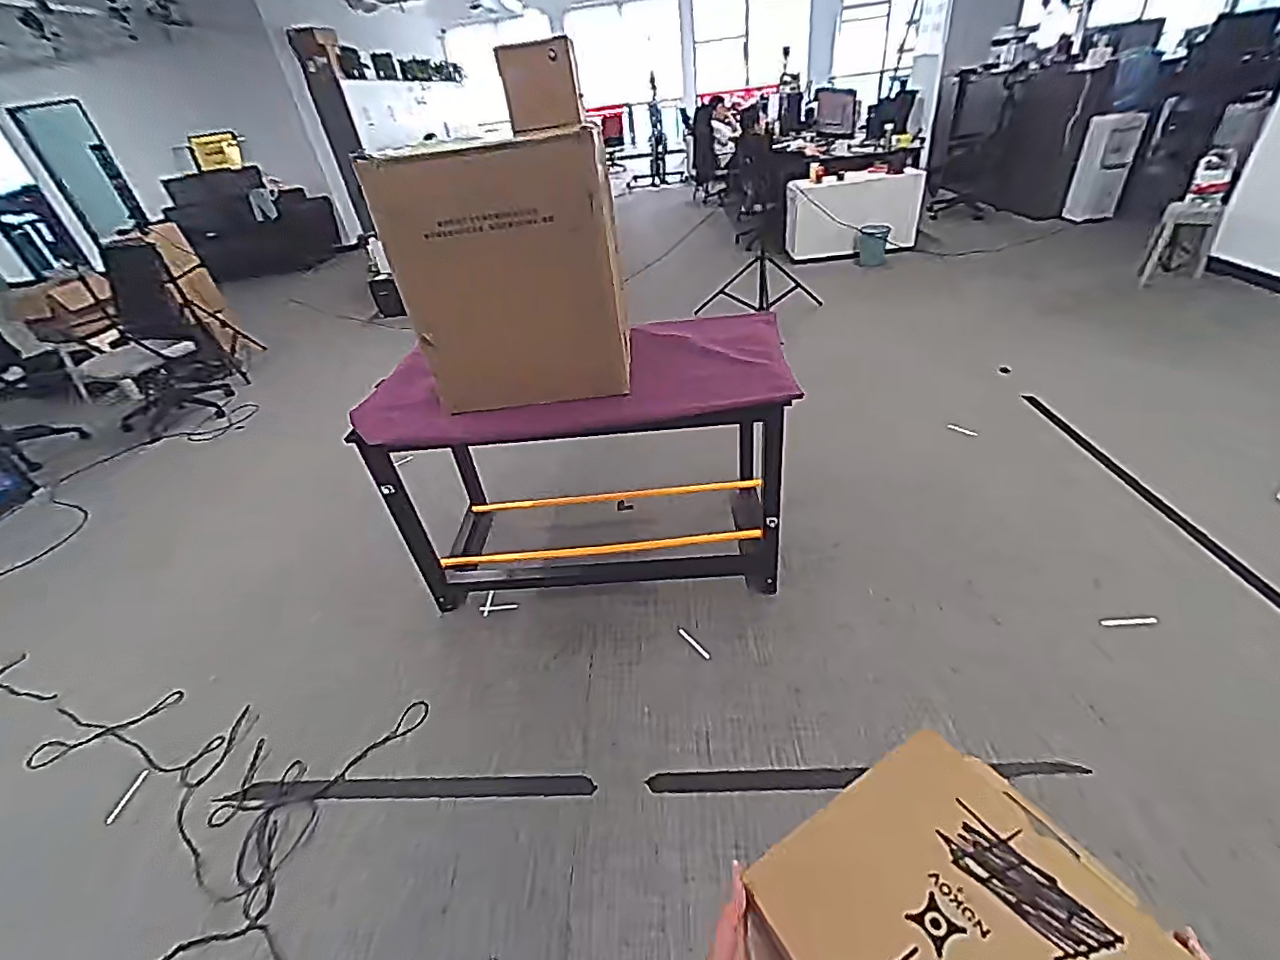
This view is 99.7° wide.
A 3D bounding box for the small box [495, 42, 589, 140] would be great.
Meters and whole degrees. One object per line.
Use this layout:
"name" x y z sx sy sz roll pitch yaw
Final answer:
"small box" -0.231 -0.939 1.317 0.179 0.176 0.168 -6 35 4
